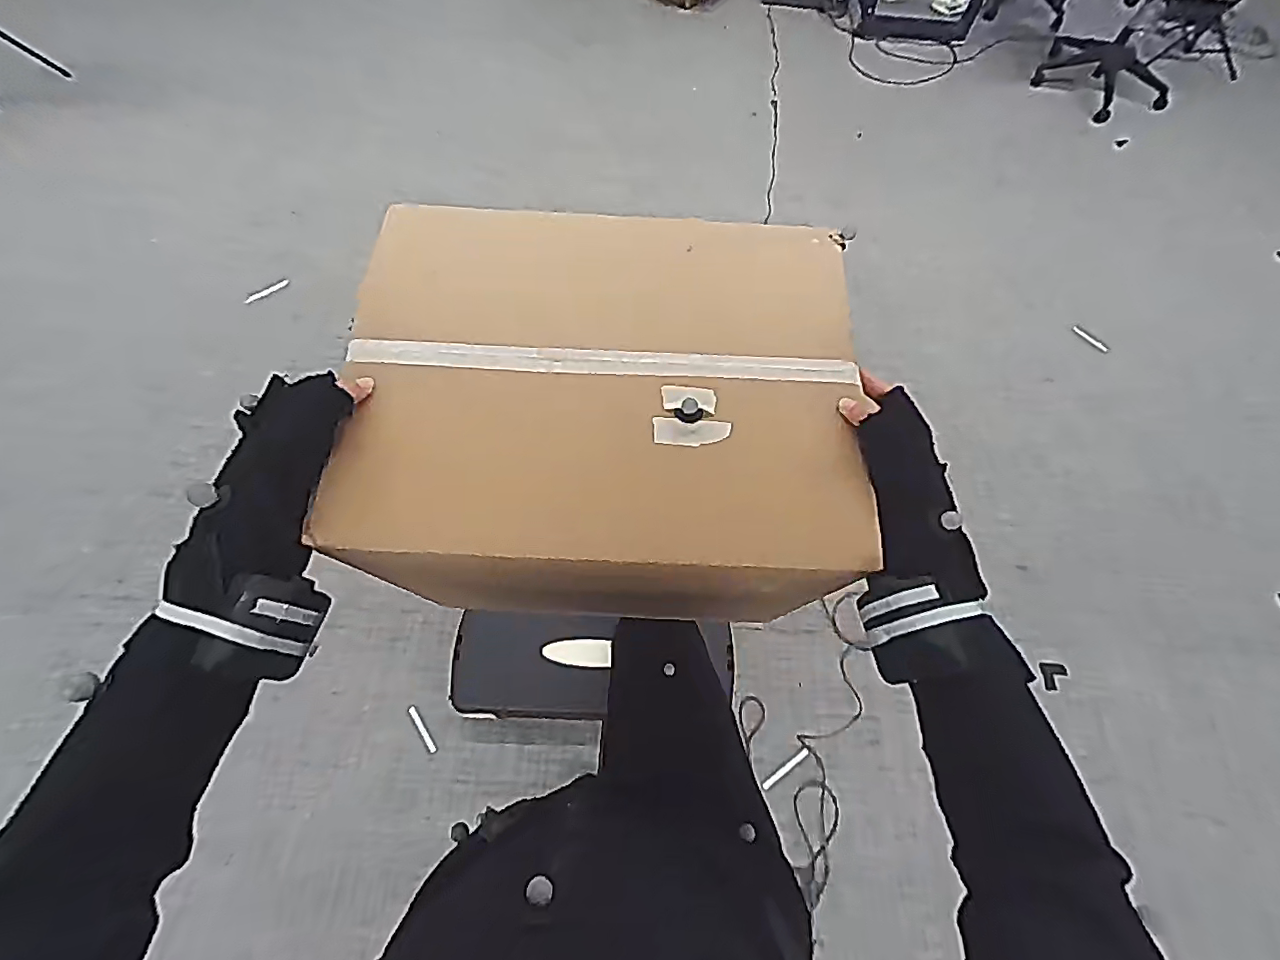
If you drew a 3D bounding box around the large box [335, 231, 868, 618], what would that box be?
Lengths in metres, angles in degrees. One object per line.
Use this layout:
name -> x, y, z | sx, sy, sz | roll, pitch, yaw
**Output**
large box -> -0.029, -0.030, 0.591 | 0.408, 0.320, 0.320 | 3, 69, -1
